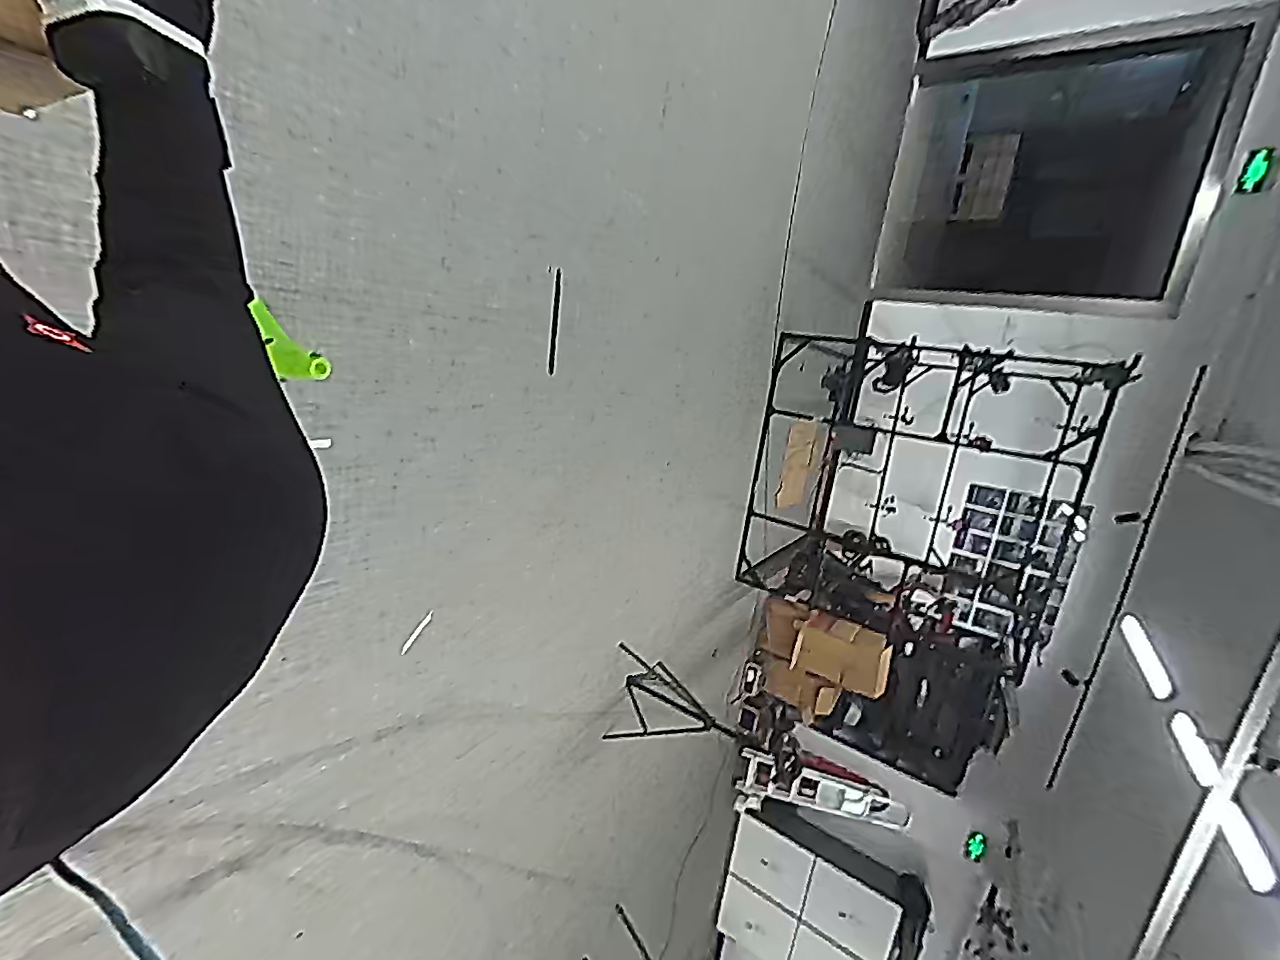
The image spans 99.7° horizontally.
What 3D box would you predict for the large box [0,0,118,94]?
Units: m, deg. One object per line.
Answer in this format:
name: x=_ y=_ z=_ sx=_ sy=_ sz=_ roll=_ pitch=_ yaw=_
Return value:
large box: x=-0.580 y=-0.455 z=0.256 sx=0.408 sy=0.320 sz=0.320 roll=-13 pitch=117 yaw=-56
